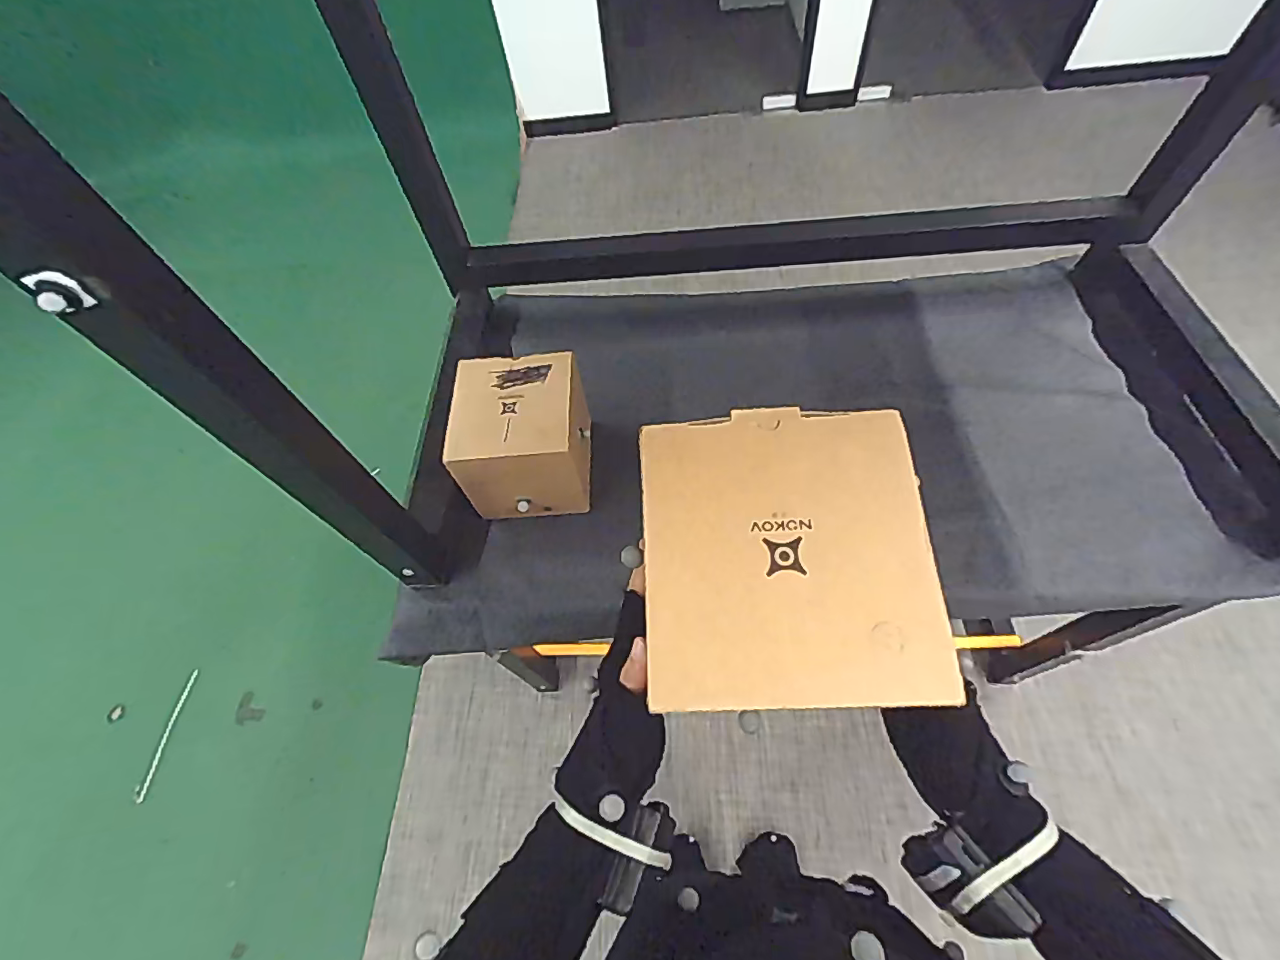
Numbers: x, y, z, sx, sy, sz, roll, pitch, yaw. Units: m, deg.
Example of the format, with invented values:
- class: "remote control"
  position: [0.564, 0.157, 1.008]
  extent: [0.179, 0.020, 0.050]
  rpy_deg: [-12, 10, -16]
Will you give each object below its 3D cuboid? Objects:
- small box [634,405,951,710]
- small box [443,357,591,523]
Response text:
- class: "small box"
  position: [0.088, 0.068, 0.390]
  extent: [0.168, 0.176, 0.179]
  rpy_deg: [-4, 66, 5]
- class: "small box"
  position: [-0.167, -0.055, 0.797]
  extent: [0.168, 0.176, 0.179]
  rpy_deg: [-5, 58, 3]
